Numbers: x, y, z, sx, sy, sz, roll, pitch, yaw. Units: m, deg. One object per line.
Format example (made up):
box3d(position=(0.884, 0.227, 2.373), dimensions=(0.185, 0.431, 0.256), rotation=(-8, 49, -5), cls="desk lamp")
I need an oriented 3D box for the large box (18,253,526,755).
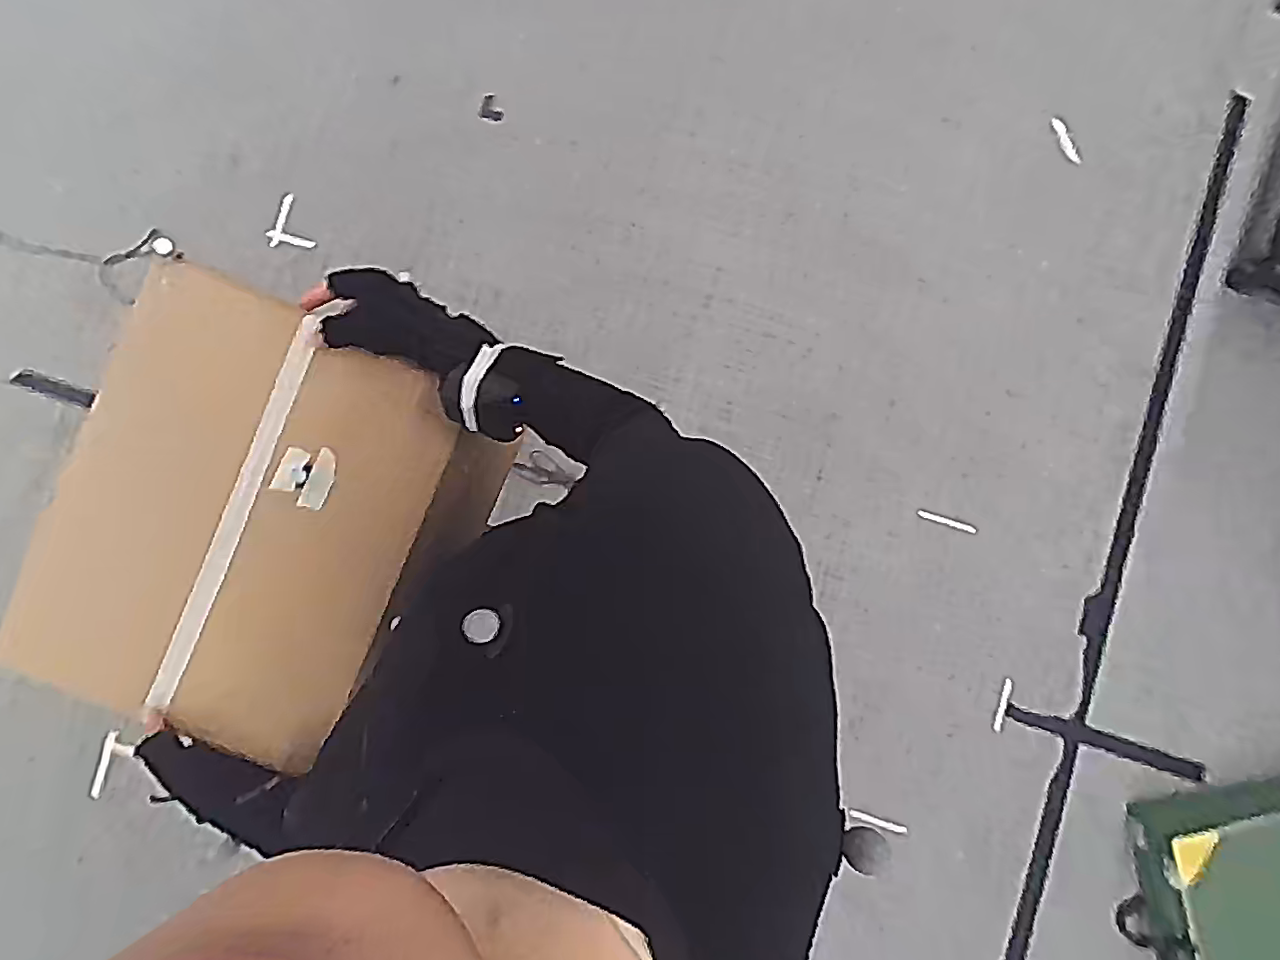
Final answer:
box3d(position=(-0.377, 0.025, 0.660), dimensions=(0.320, 0.320, 0.408), rotation=(23, 90, -4), cls="large box")
